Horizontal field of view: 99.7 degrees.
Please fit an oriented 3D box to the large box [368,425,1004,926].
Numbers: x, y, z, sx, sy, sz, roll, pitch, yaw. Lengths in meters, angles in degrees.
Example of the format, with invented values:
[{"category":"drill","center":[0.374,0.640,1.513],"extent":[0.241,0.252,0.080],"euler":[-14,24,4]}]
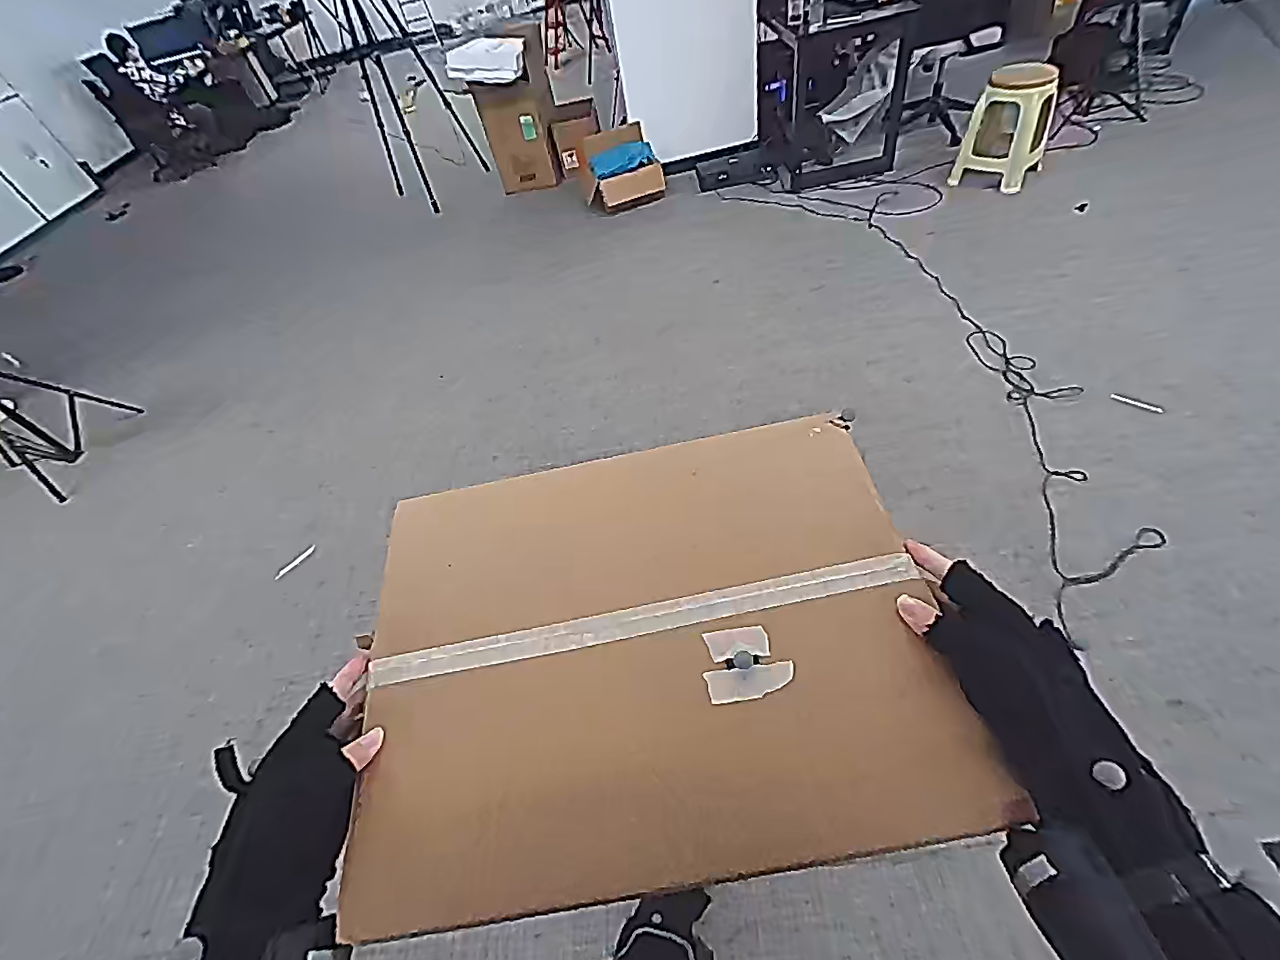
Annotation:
[{"category":"large box","center":[0.022,0.195,0.532],"extent":[0.408,0.320,0.320],"euler":[-11,54,1]}]
